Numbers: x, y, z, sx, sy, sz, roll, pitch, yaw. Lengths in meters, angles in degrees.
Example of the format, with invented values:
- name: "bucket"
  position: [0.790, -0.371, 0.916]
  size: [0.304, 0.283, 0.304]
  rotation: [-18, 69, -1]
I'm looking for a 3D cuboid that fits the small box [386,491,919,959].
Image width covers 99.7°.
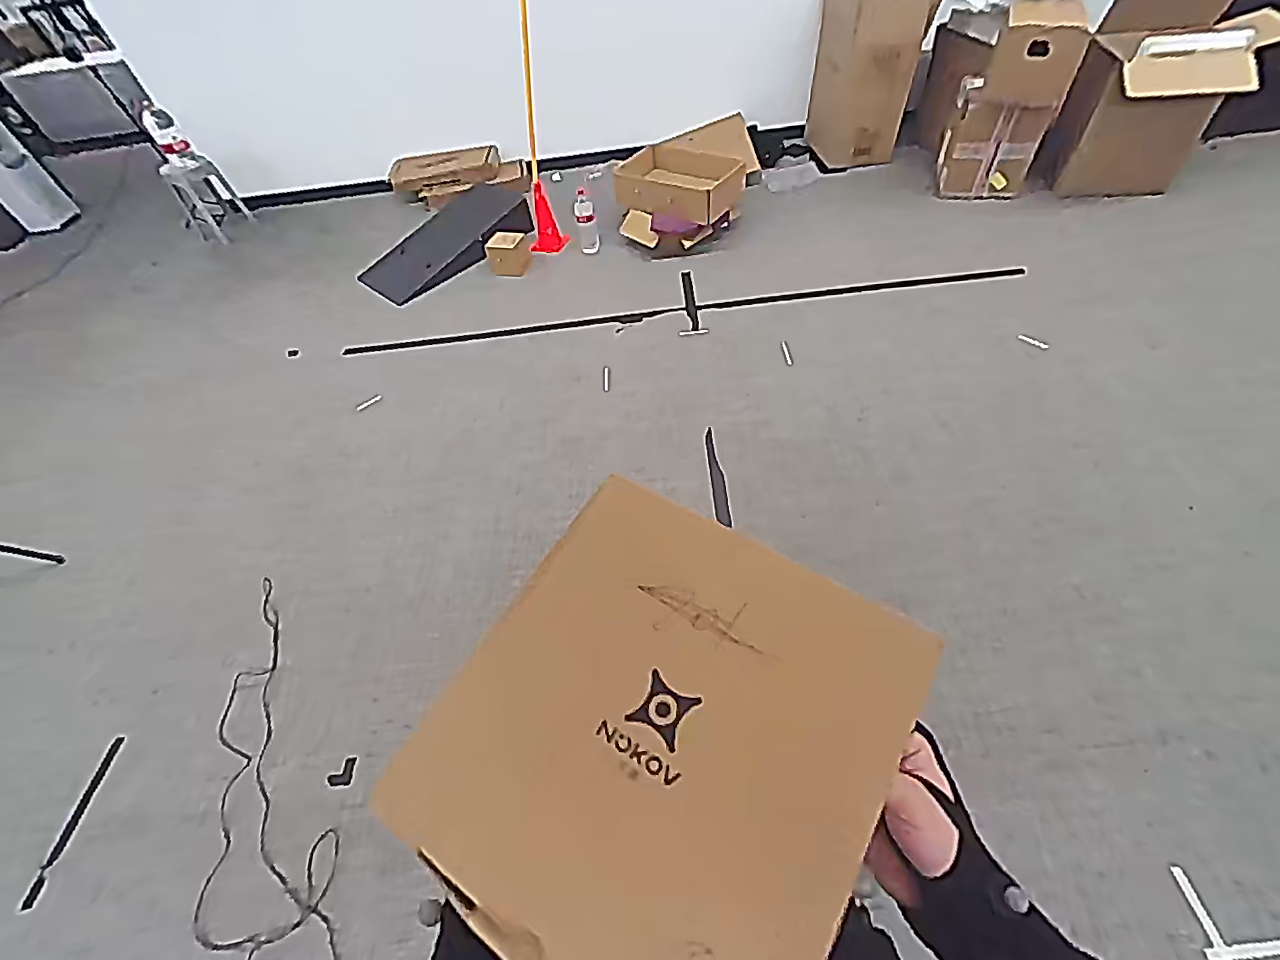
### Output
- name: "small box"
  position: [0.017, 0.143, 0.291]
  size: [0.168, 0.176, 0.179]
  rotation: [25, 64, 21]
